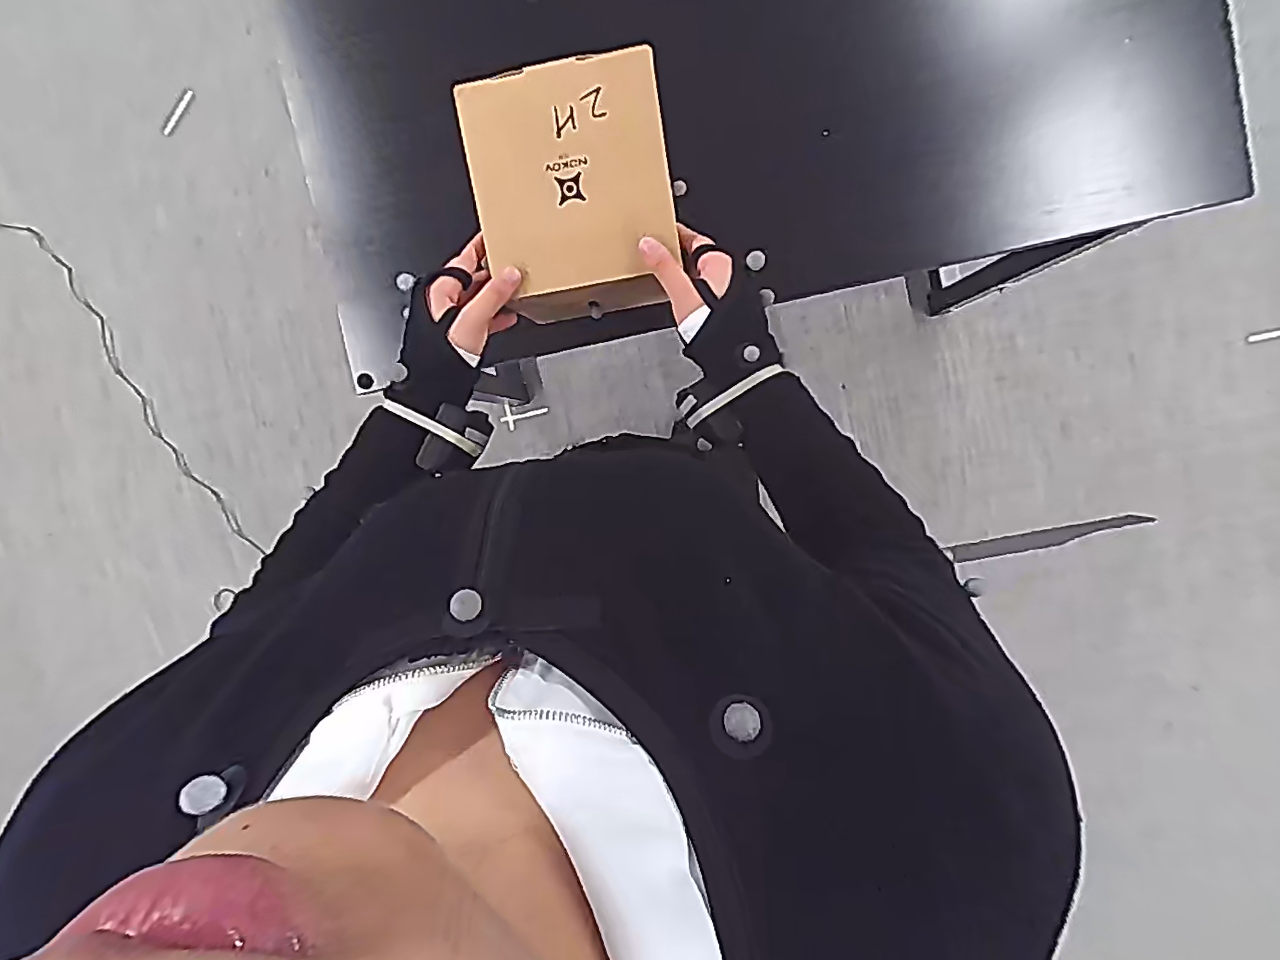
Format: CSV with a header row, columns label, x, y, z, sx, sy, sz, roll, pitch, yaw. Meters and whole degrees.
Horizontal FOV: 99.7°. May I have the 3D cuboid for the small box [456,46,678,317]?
label,x,y,z,sx,sy,sz,roll,pitch,yaw
small box,-0.054,-0.264,0.529,0.168,0.176,0.179,-9,98,4
